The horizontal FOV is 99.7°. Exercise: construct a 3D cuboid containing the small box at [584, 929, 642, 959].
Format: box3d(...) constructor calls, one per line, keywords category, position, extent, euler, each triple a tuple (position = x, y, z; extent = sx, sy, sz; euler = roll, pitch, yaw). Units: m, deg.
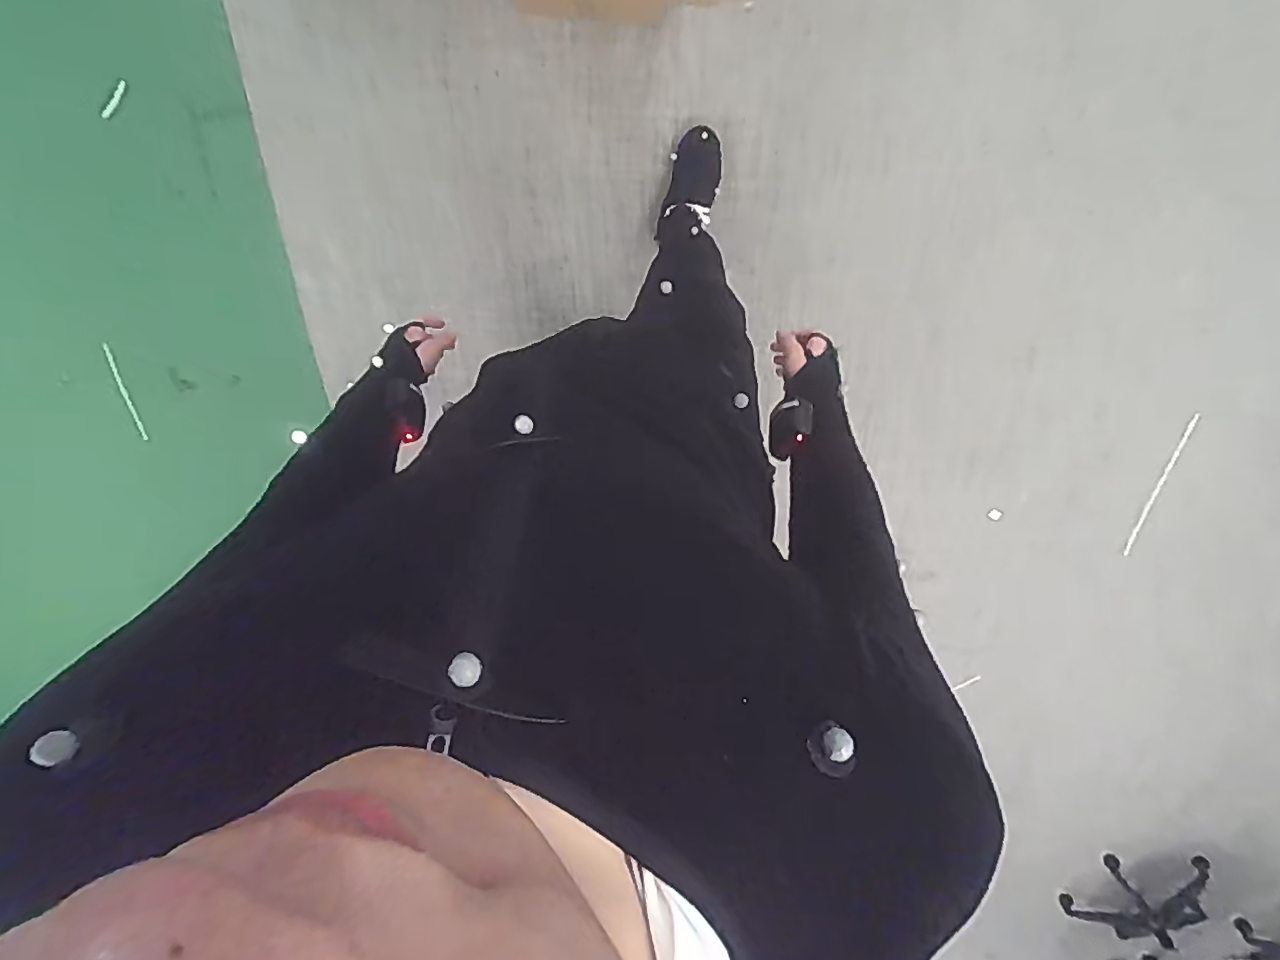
box3d(category="small box", position=(-0.084, 1.476, 1.609), extent=(0.168, 0.176, 0.179), euler=(2, 119, 4))
